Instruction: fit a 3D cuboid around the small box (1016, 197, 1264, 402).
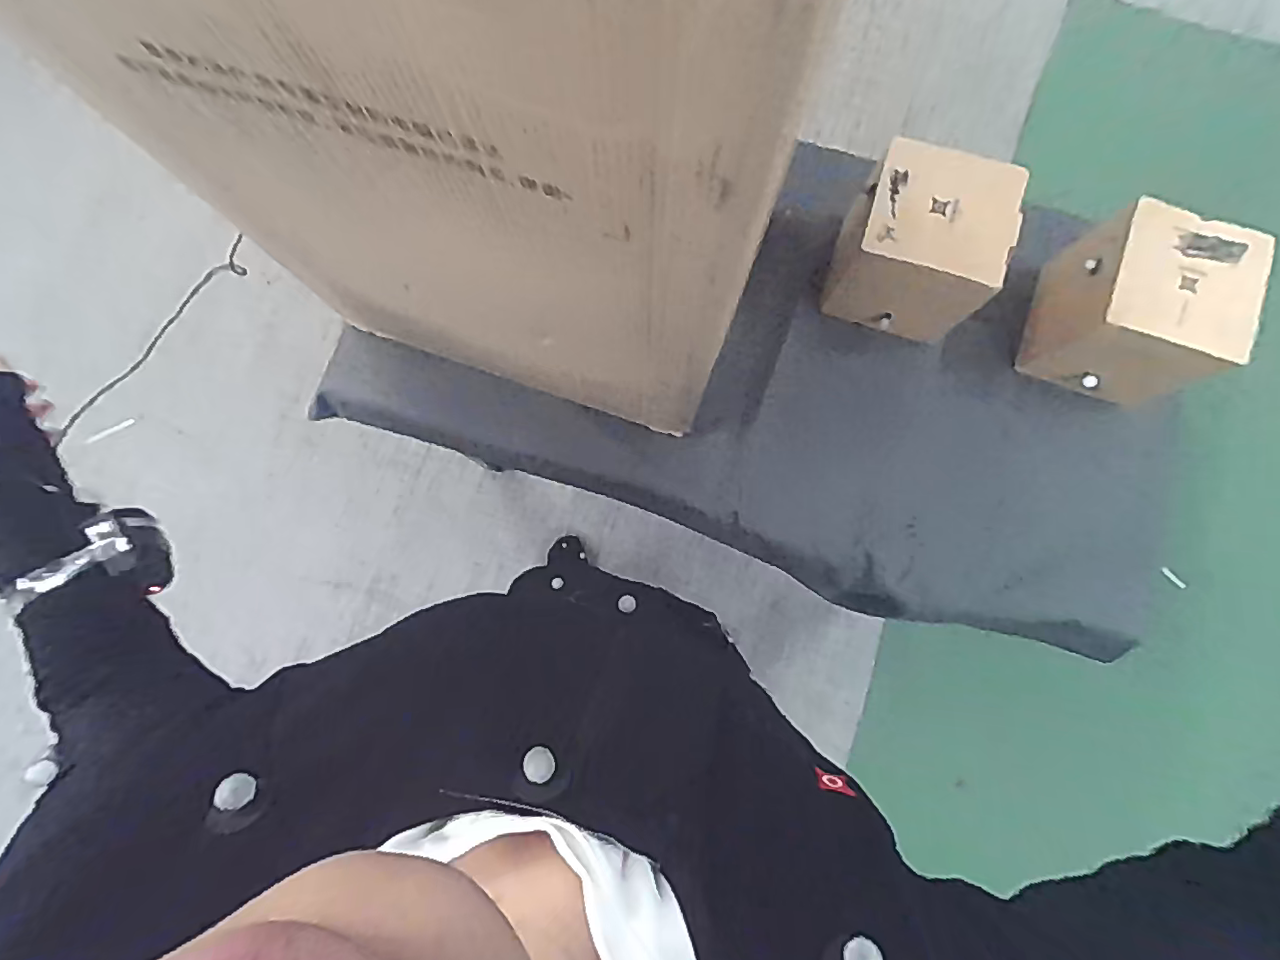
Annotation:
[{"bbox_3d":[0.654,-0.230,0.730,0.168,0.176,0.179,20,82,4],"label":"small box"}]
